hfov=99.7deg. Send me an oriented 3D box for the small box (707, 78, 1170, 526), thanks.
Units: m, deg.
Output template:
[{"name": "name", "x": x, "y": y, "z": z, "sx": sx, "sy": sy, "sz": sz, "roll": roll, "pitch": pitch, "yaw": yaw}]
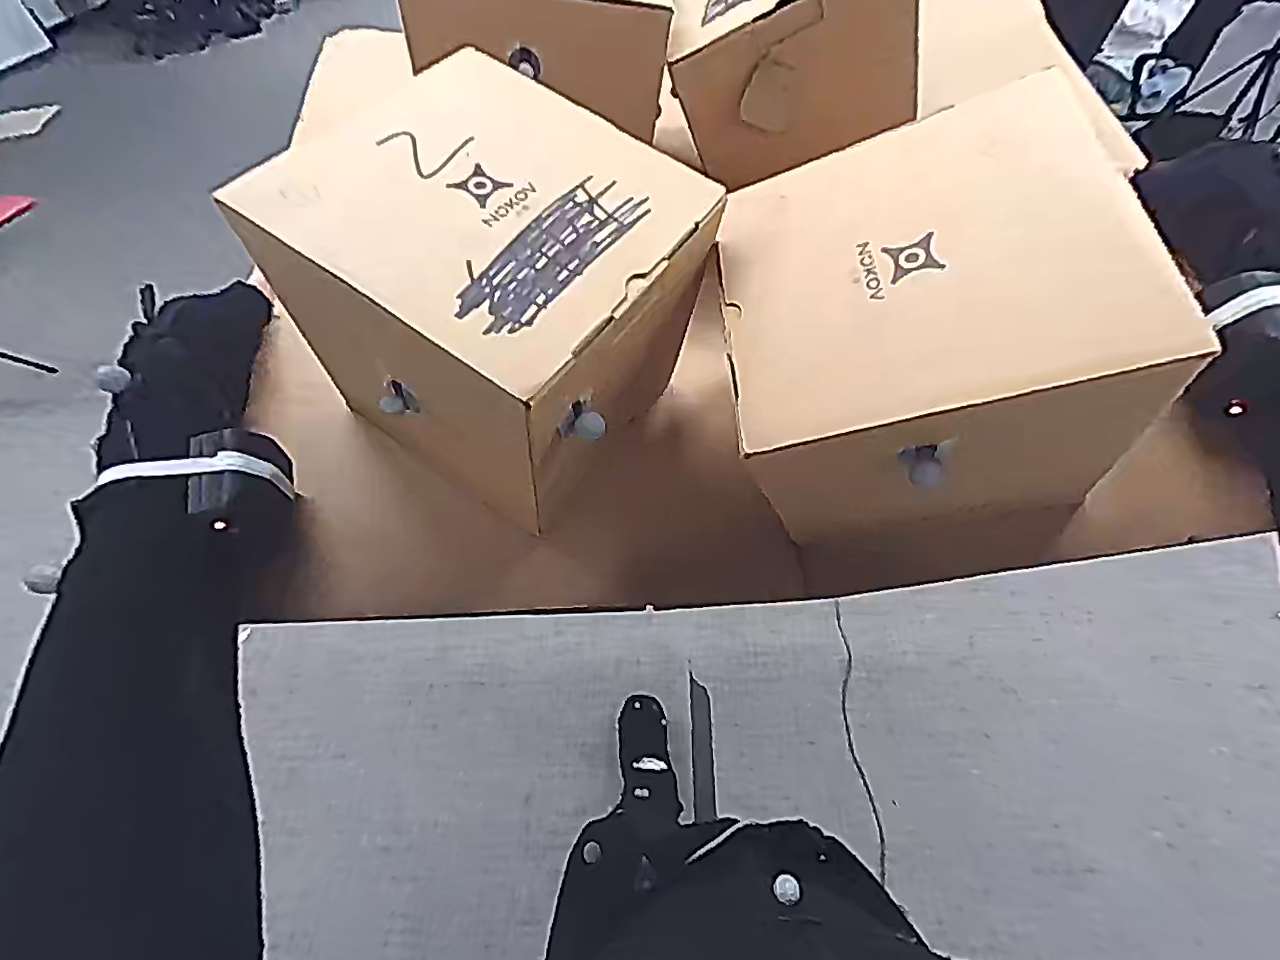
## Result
[{"name": "small box", "x": 0.155, "y": -0.080, "z": 0.333, "sx": 0.179, "sy": 0.176, "sz": 0.168, "roll": -12, "pitch": 66, "yaw": 23}]
